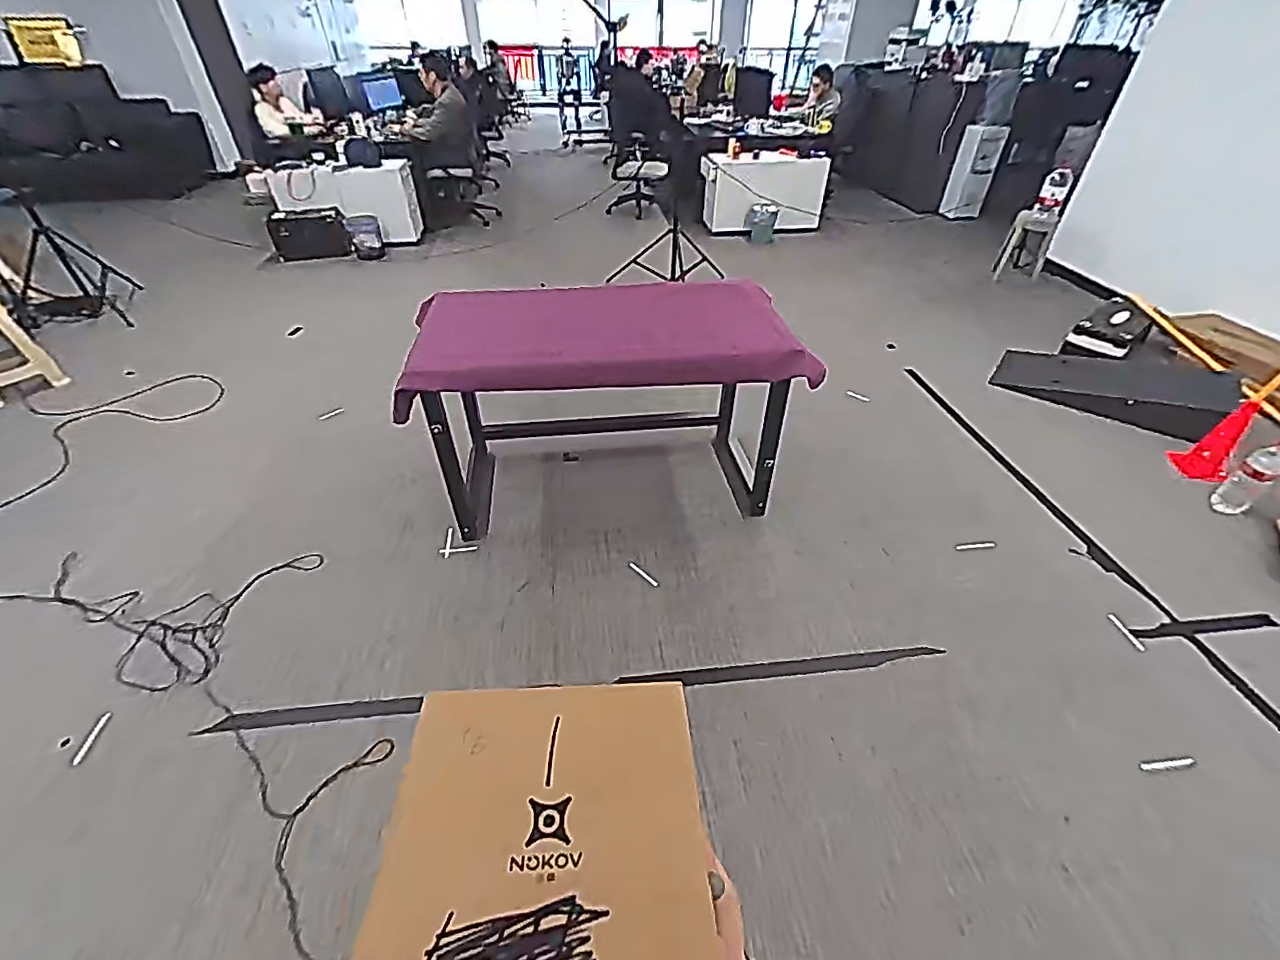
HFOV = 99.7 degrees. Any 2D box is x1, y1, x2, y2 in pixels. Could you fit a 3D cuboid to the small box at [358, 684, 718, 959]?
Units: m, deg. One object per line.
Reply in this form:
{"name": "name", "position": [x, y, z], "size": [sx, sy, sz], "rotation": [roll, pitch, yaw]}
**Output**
{"name": "small box", "position": [-0.048, 0.251, 0.330], "size": [0.168, 0.176, 0.179], "rotation": [-1, 37, -3]}
